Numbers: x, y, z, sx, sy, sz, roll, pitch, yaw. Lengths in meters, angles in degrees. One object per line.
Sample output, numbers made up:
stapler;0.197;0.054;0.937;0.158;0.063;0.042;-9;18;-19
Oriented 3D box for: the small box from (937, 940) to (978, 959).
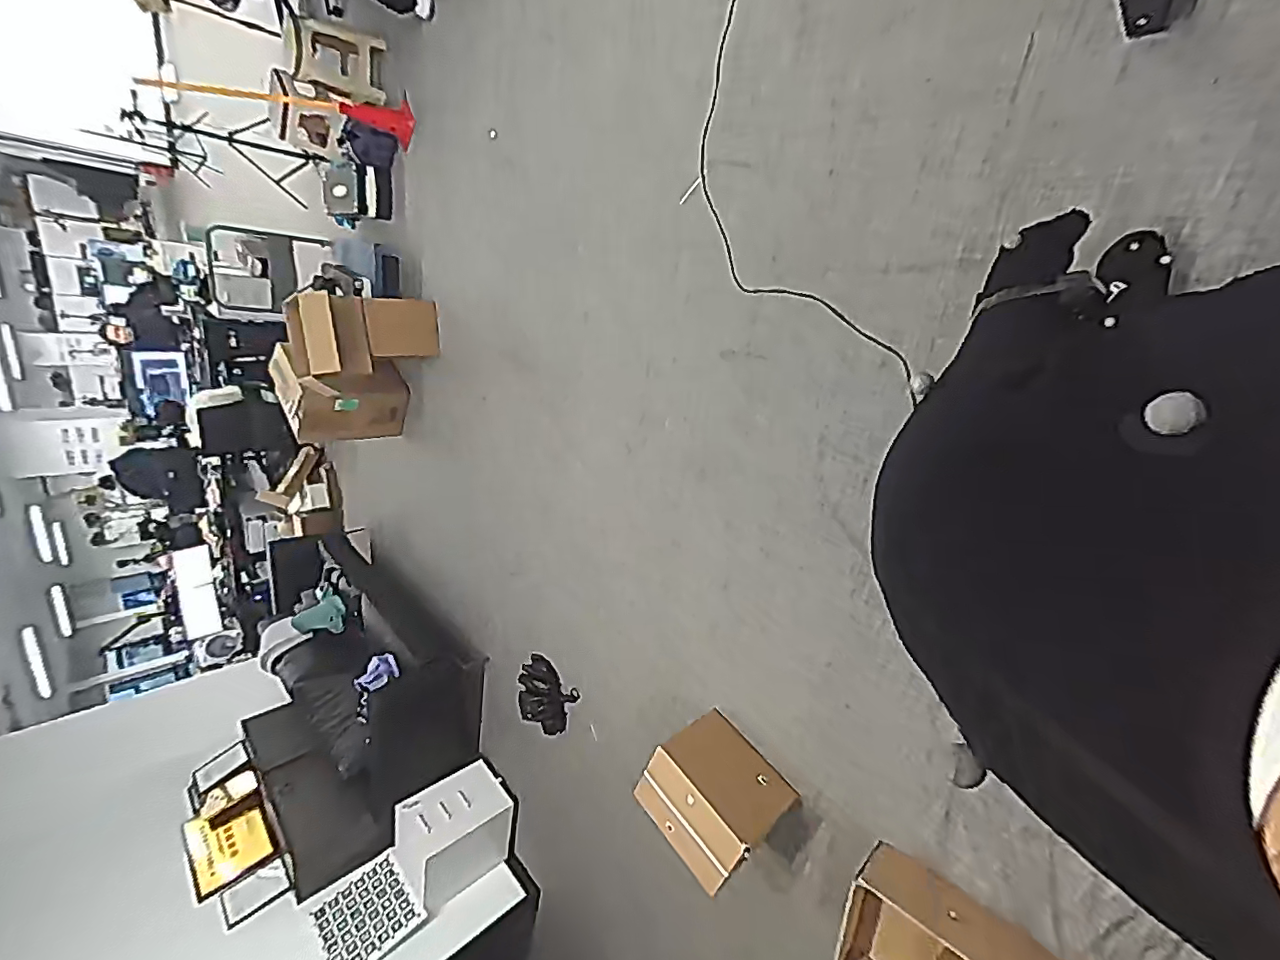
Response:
small box;0.846;1.367;1.401;0.179;0.176;0.168;21;112;43
